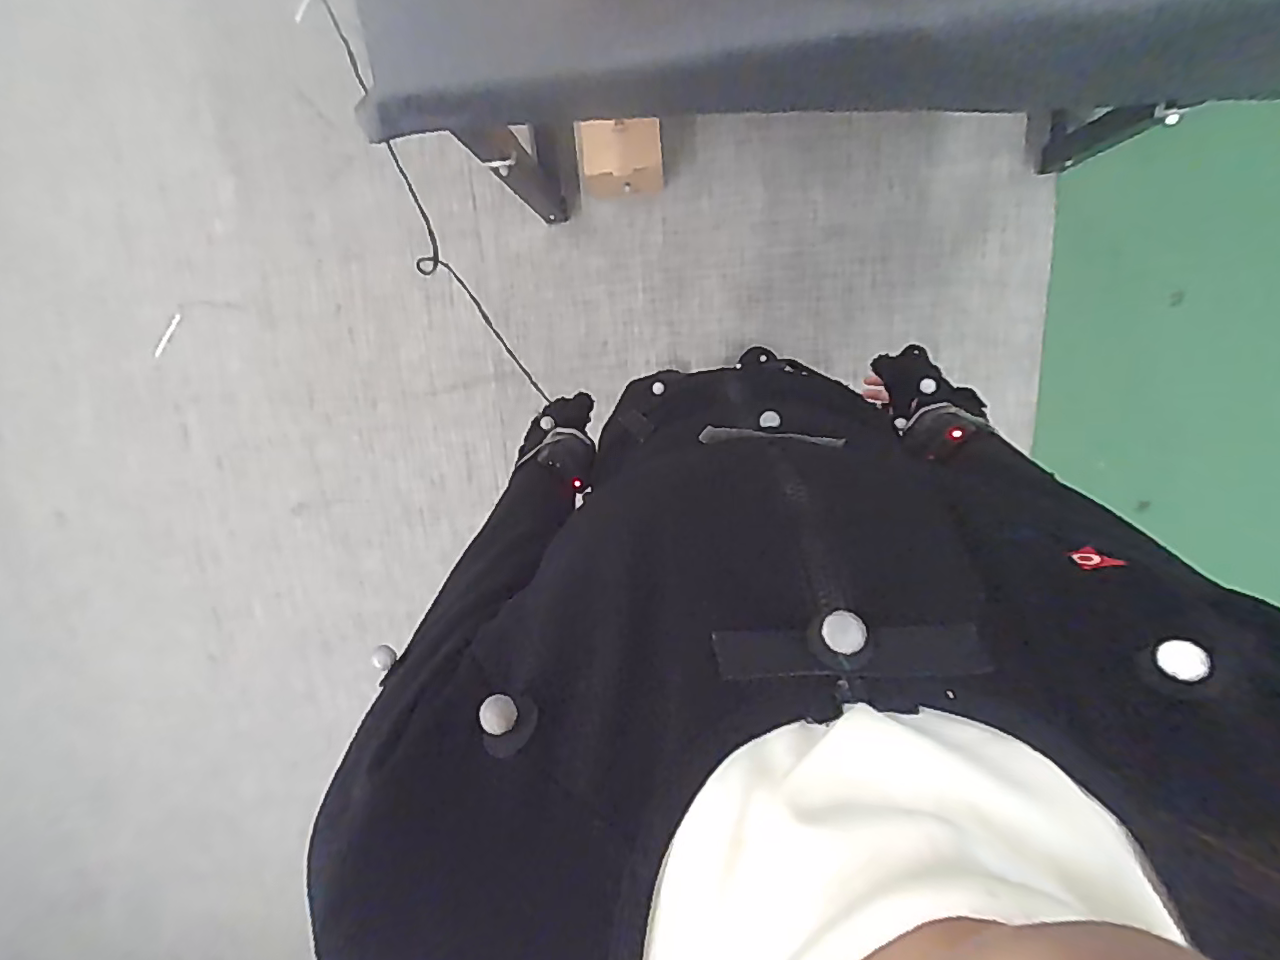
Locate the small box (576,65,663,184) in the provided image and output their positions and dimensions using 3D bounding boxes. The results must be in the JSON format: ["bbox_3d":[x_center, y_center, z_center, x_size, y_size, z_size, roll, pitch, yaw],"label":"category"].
[{"bbox_3d":[-0.038,-0.763,1.184,0.168,0.176,0.179,-3,104,5],"label":"small box"}]
